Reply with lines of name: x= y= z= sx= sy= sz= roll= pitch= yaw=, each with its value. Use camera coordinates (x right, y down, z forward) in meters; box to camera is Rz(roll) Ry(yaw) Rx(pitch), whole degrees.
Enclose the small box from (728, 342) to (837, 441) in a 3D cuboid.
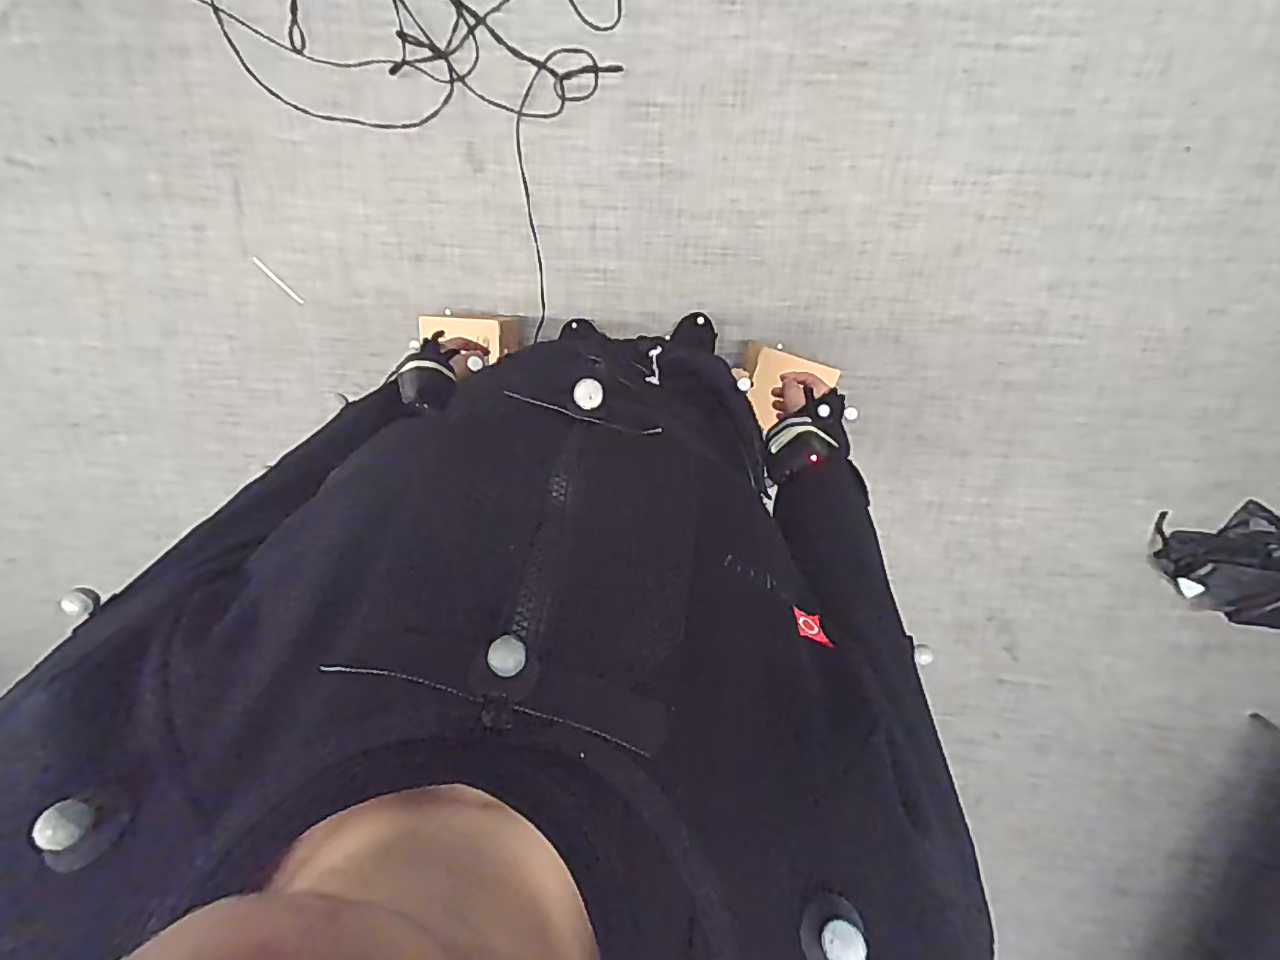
small box: x=0.312 y=-0.208 z=1.227 sx=0.179 sy=0.176 sz=0.168 roll=16 pitch=109 yaw=-2
